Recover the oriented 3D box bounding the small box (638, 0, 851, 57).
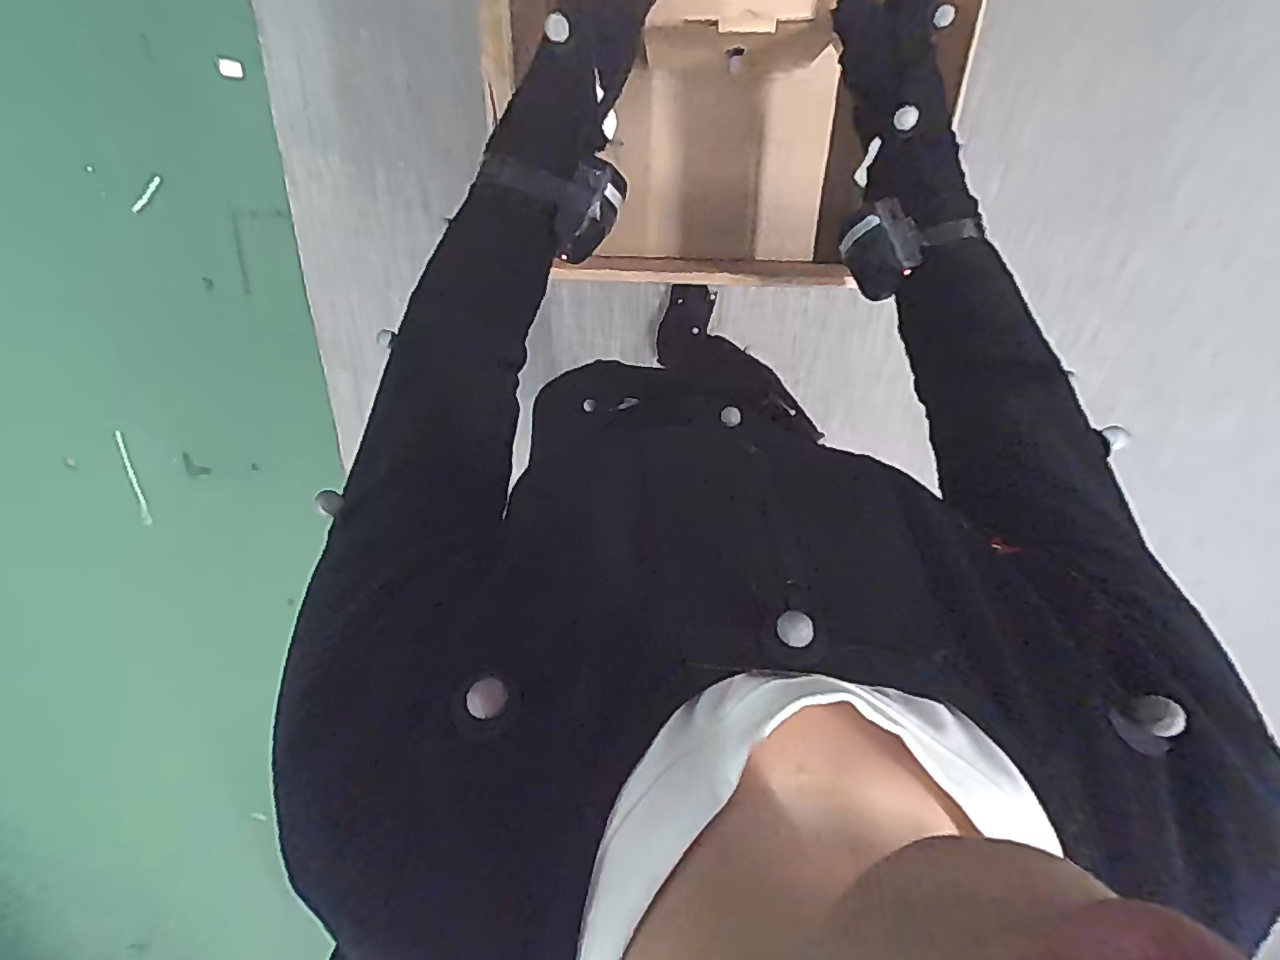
[{"bbox_3d":[0.086,-0.472,0.447,0.168,0.176,0.179,2,119,1],"label":"small box"}]
